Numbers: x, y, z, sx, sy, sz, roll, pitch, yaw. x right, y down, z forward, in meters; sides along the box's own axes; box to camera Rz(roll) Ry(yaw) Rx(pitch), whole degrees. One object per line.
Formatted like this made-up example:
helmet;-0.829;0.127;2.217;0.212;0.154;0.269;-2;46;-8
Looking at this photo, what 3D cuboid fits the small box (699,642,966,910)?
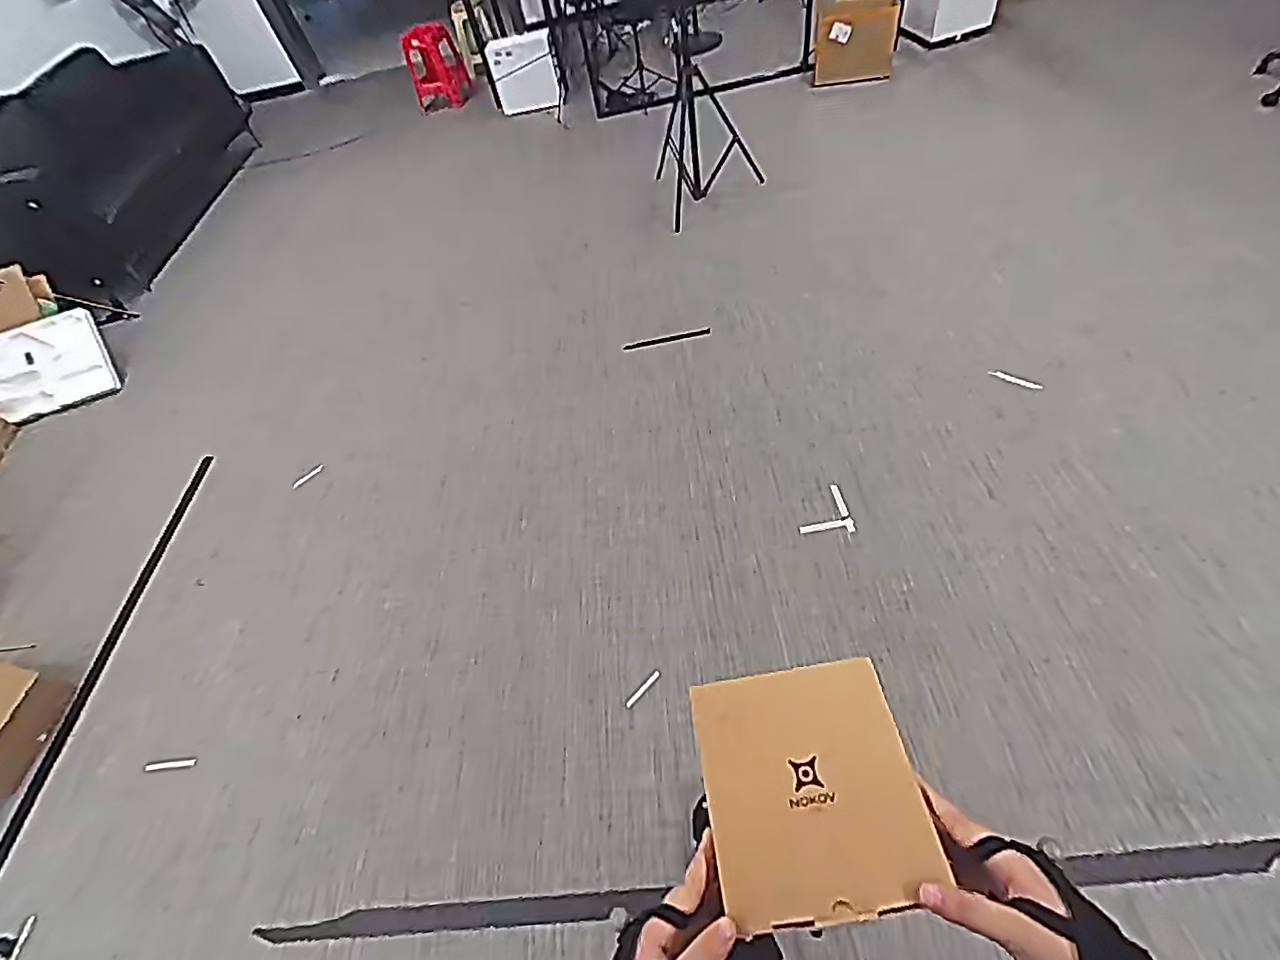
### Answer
small box;0.151;0.273;0.496;0.168;0.176;0.179;-11;53;3
